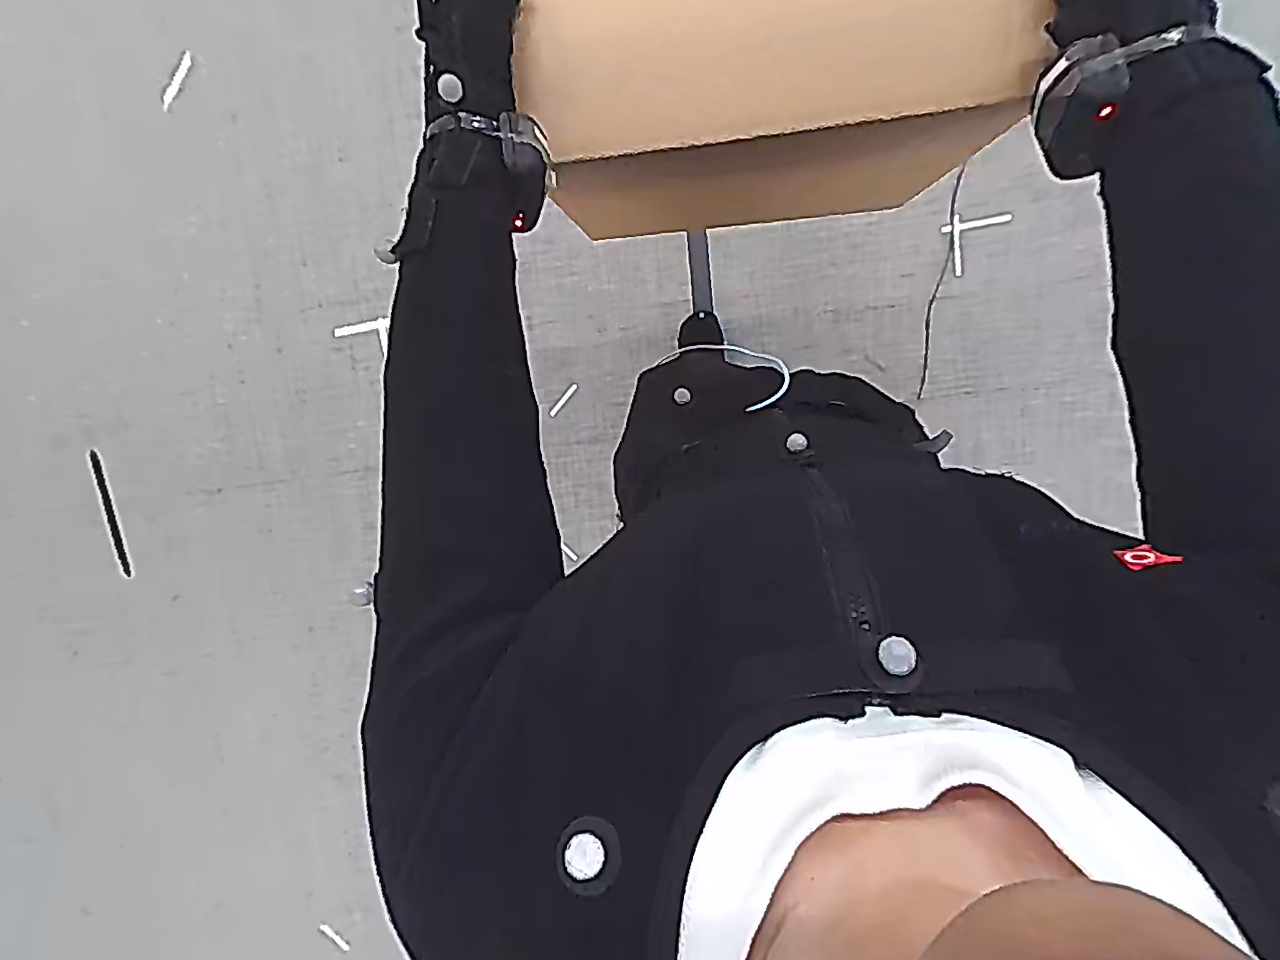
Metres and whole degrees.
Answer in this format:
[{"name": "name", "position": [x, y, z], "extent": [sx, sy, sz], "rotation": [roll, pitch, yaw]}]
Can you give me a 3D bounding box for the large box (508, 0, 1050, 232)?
[{"name": "large box", "position": [0.100, -0.462, 0.531], "extent": [0.408, 0.320, 0.320], "rotation": [-4, 104, 6]}]
